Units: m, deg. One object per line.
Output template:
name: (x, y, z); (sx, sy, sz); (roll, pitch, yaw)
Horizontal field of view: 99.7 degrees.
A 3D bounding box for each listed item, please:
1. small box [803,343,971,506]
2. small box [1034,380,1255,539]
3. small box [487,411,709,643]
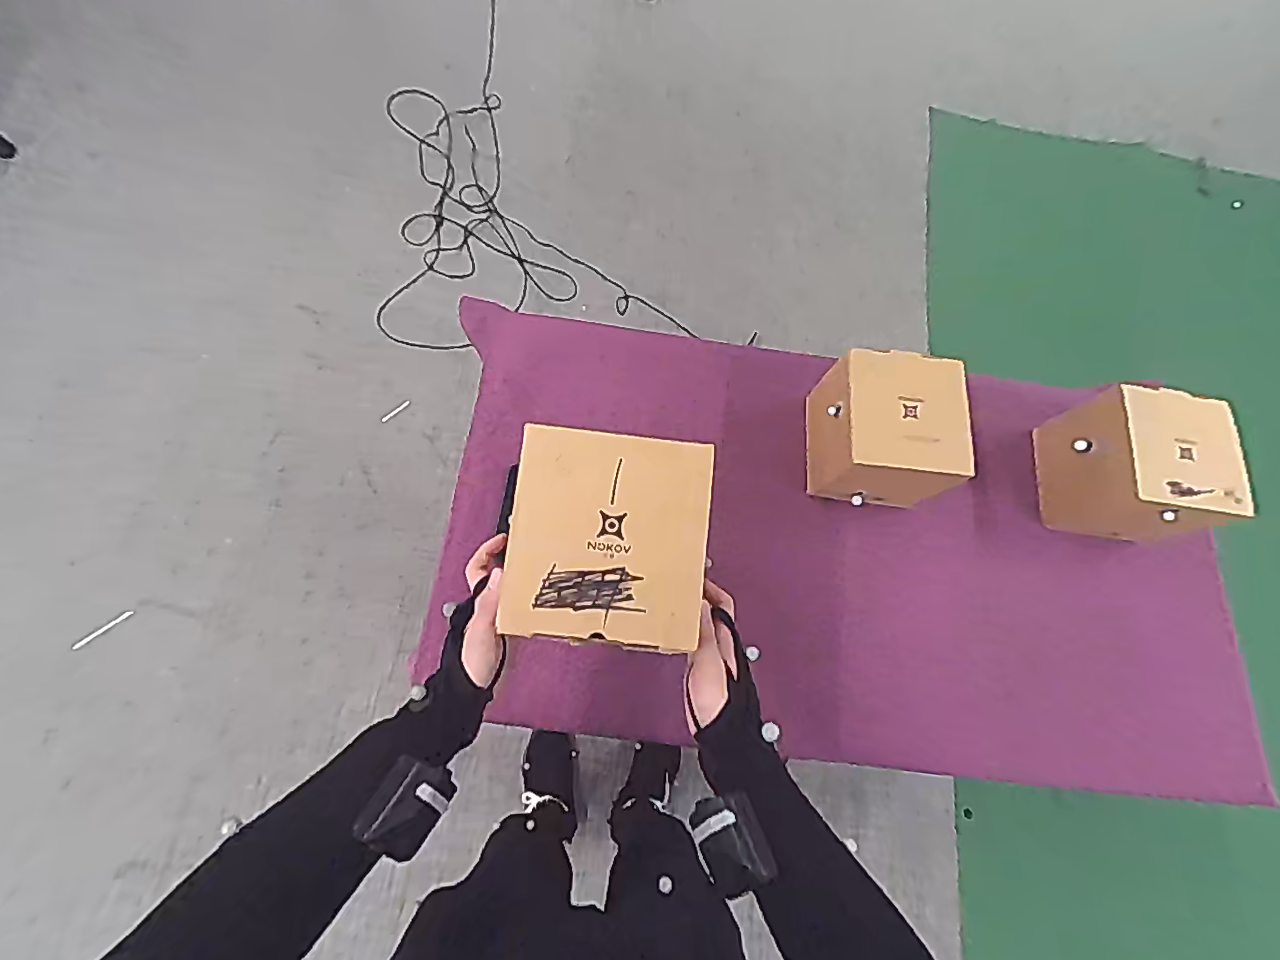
small box: (0.349, -0.074, 0.797); (0.168, 0.176, 0.179); (7, 72, -2)
small box: (0.734, -0.023, 0.812); (0.168, 0.176, 0.179); (8, 71, -1)
small box: (-0.035, 0.049, 0.522); (0.168, 0.176, 0.179); (7, 80, -2)
